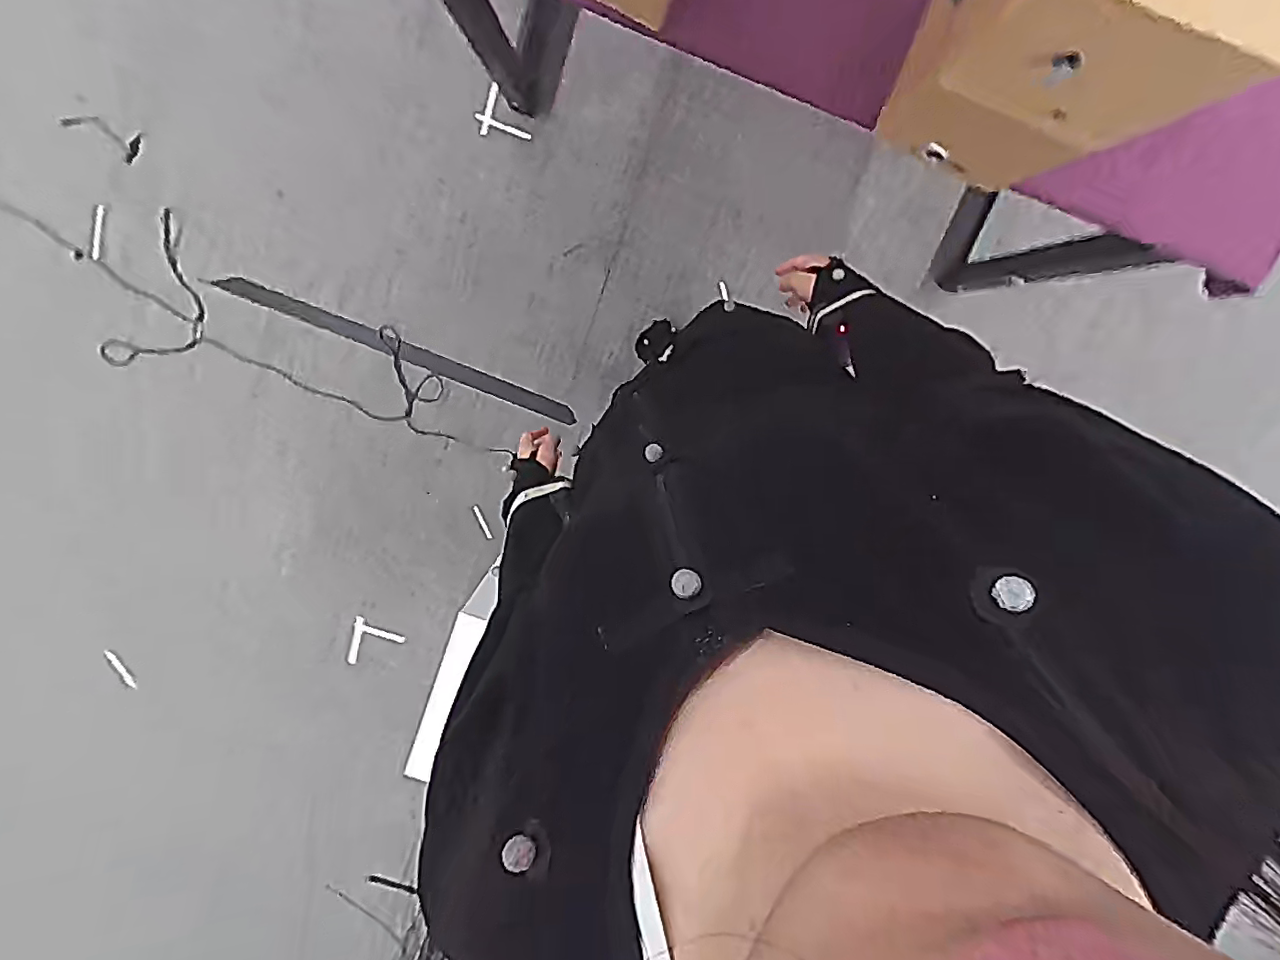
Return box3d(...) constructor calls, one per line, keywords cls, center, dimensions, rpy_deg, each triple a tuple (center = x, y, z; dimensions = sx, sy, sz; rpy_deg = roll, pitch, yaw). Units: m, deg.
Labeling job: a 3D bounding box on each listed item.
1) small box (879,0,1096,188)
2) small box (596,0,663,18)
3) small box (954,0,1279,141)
box3d(cls="small box", center=(0.377, -0.434, 0.551), dimensions=(0.168, 0.176, 0.179), rpy_deg=(21, 106, -3))
box3d(cls="small box", center=(-0.027, -0.598, 0.514), dimensions=(0.179, 0.176, 0.168), rpy_deg=(24, 104, -5))
box3d(cls="small box", center=(0.370, -0.387, 0.395), dimensions=(0.168, 0.176, 0.179), rpy_deg=(20, 104, -2))
